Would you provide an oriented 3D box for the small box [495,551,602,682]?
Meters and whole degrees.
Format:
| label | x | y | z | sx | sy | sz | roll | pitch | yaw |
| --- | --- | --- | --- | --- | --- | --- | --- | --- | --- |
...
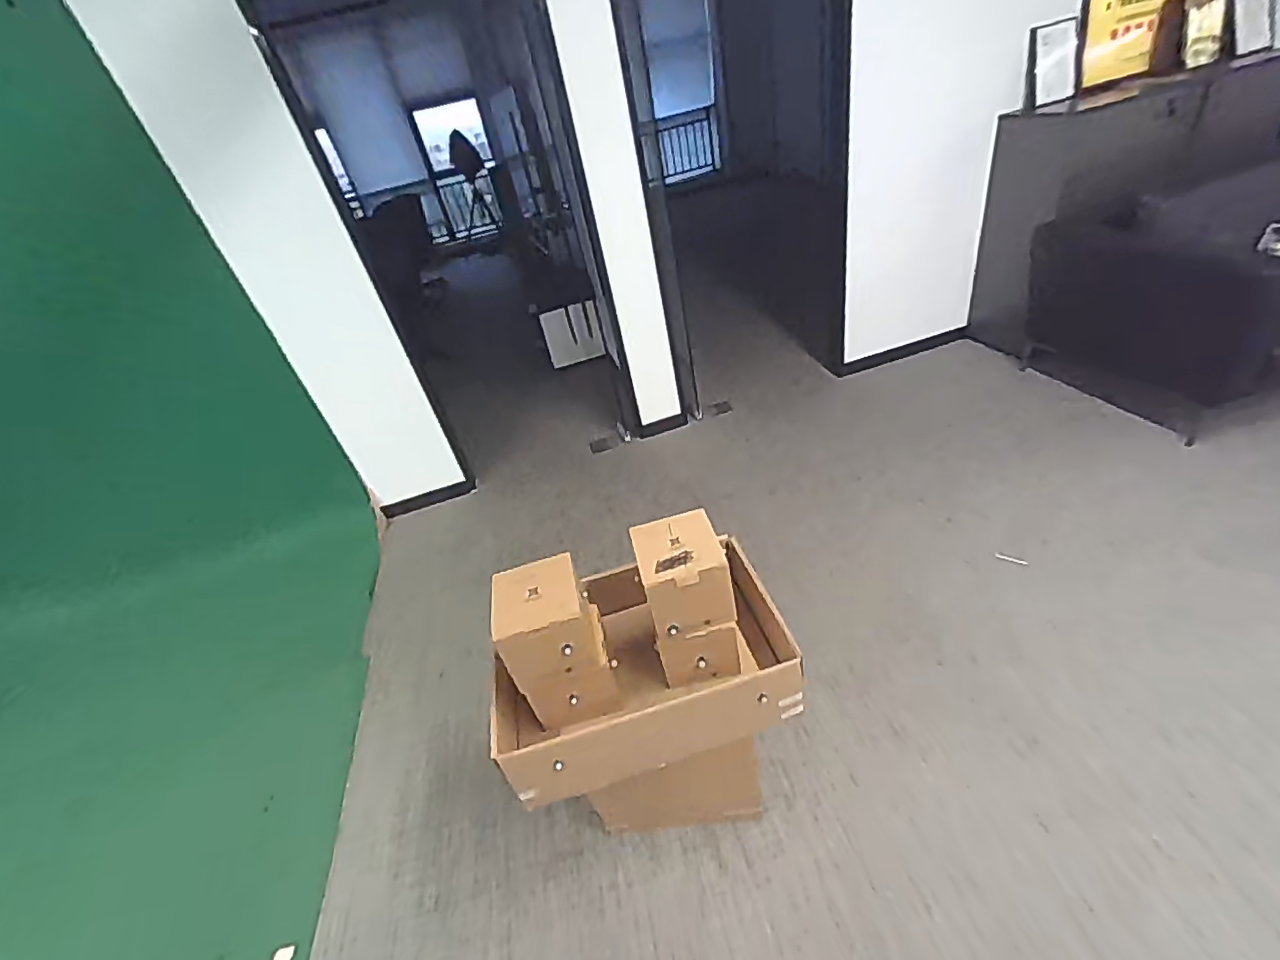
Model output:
| label | x | y | z | sx | sy | sz | roll | pitch | yaw |
| --- | --- | --- | --- | --- | --- | --- | --- | --- | --- |
| small box | -0.182 | 0.280 | 1.087 | 0.168 | 0.176 | 0.179 | -17 | 35 | -3 |

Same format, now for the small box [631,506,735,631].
| label | x | y | z | sx | sy | sz | roll | pitch | yaw |
| --- | --- | --- | --- | --- | --- | --- | --- | --- | --- |
| small box | 0.089 | 0.187 | 1.114 | 0.168 | 0.176 | 0.179 | -16 | 35 | -1 |
